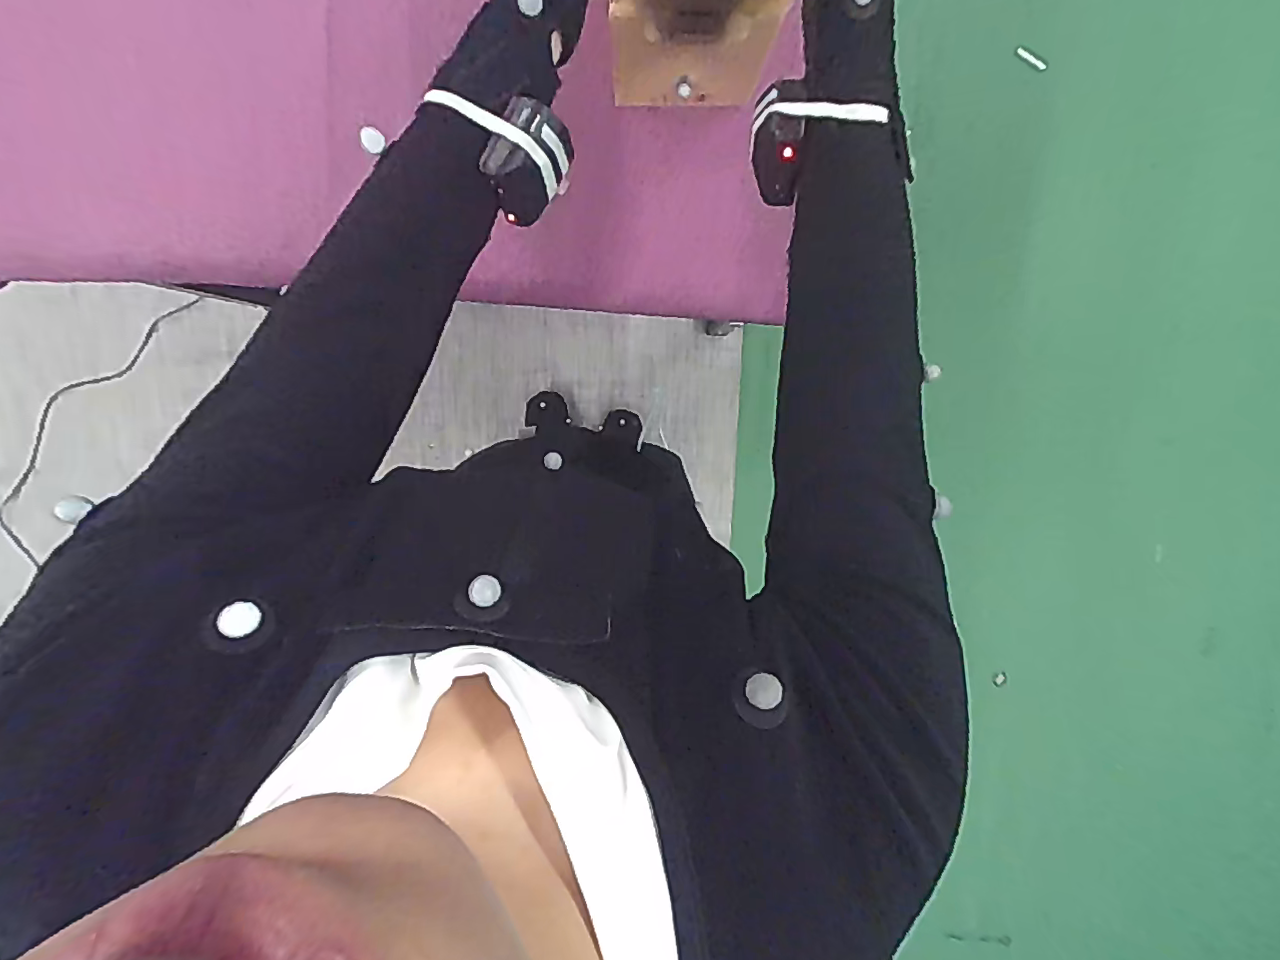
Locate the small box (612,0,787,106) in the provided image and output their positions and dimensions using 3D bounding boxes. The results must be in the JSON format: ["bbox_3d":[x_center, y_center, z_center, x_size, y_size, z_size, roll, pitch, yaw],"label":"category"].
[{"bbox_3d":[0.054,-0.534,0.568,0.168,0.176,0.179,0,100,-1],"label":"small box"}]

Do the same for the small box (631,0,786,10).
[{"bbox_3d":[0.062,-0.510,0.407,0.168,0.176,0.179,0,101,-2],"label":"small box"}]
